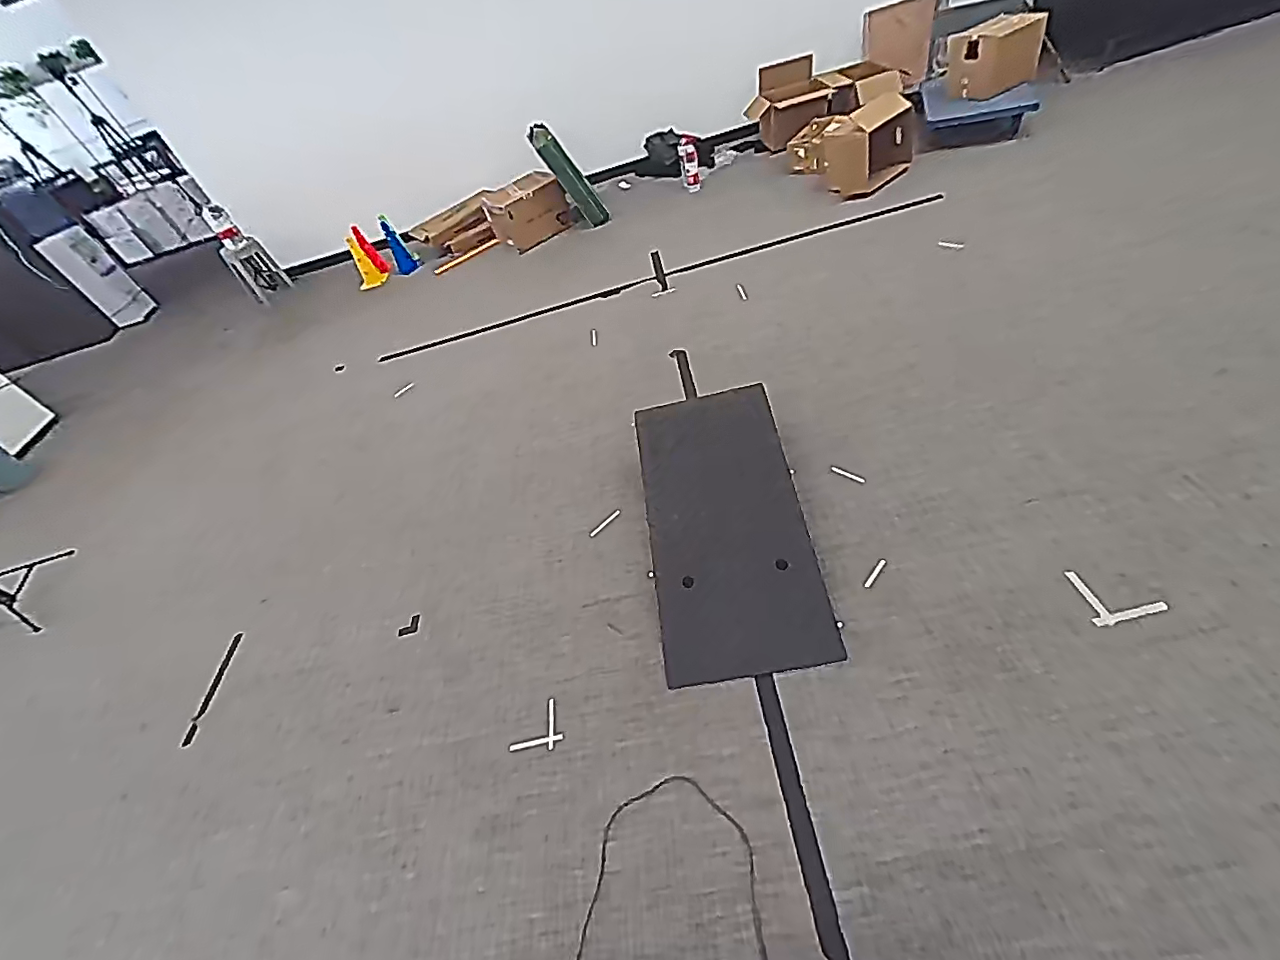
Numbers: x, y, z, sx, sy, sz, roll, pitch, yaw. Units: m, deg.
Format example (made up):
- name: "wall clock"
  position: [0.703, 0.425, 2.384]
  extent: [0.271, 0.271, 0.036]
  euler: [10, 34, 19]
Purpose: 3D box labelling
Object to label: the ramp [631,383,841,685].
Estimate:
- name: "ramp"
  position: [0.255, 0.110, 1.745]
  extent: [0.509, 0.206, 0.991]
  euler: [-13, 46, 6]
